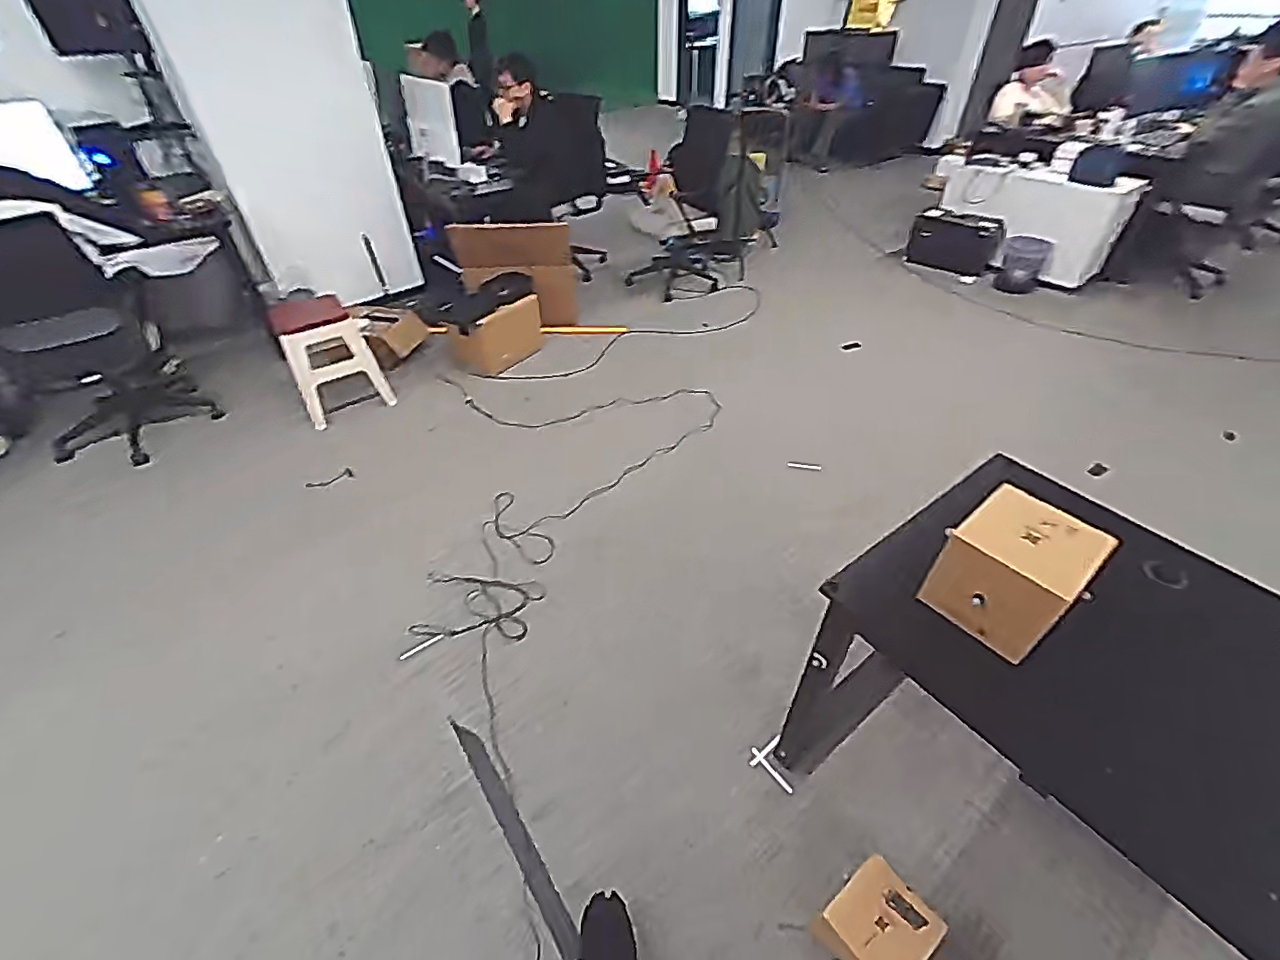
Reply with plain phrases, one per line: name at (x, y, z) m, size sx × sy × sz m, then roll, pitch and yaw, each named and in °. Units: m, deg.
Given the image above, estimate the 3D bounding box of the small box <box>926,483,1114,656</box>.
small box at (0.589, 0.143, 0.863) m, size 0.179 × 0.176 × 0.168 m, roll -29°, pitch 50°, yaw -28°

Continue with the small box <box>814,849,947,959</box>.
small box at (0.480, 0.911, 1.107) m, size 0.179 × 0.176 × 0.168 m, roll -29°, pitch 49°, yaw -25°
